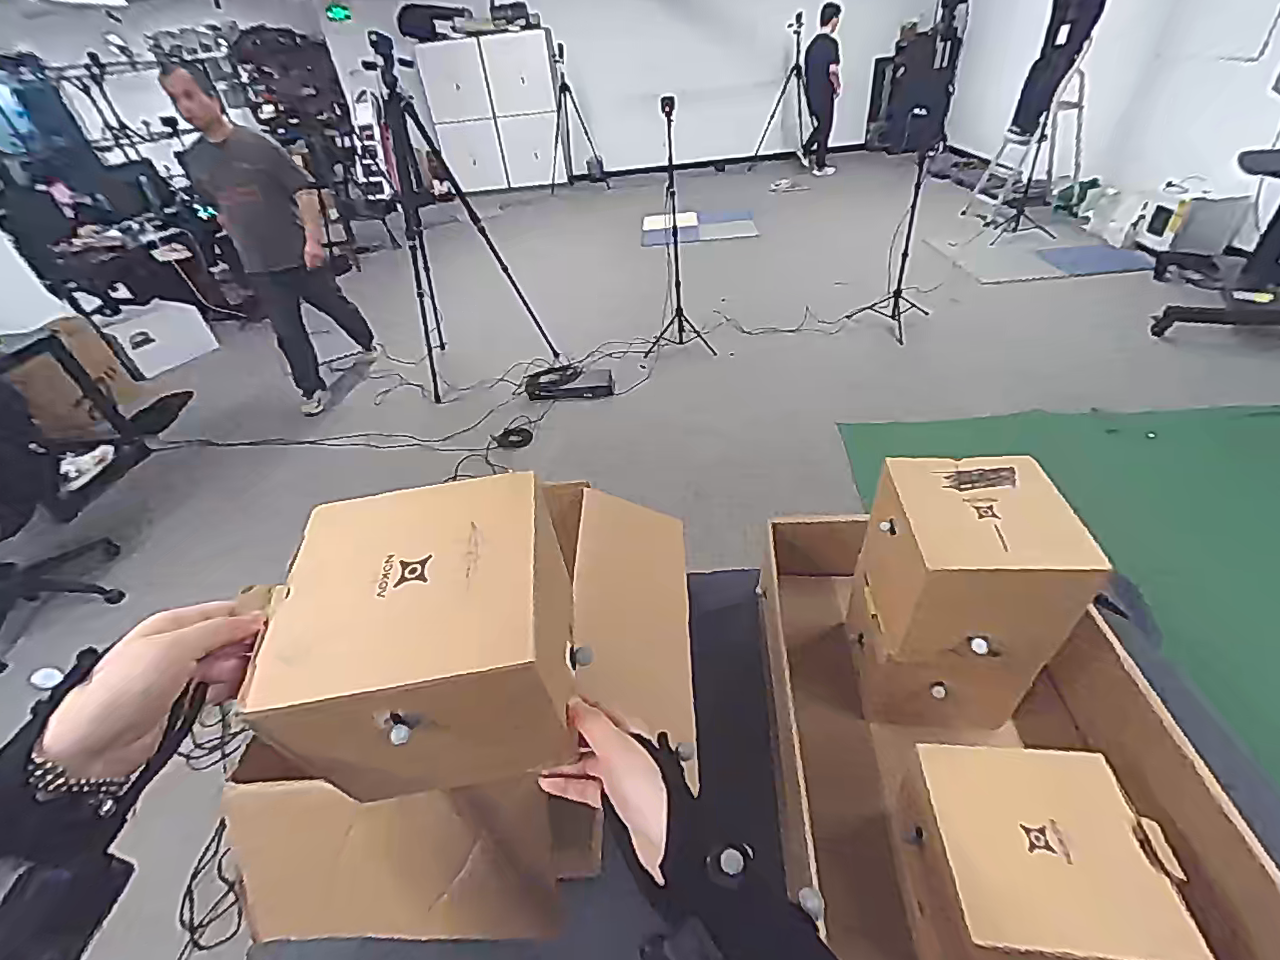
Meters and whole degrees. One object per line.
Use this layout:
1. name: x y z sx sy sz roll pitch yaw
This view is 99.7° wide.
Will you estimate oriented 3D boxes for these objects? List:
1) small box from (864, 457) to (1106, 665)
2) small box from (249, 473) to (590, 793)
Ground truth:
1. small box: 0.373 0.091 0.632 0.168 0.176 0.179 -1 41 8
2. small box: -0.142 0.121 0.421 0.179 0.176 0.168 -9 45 -3
